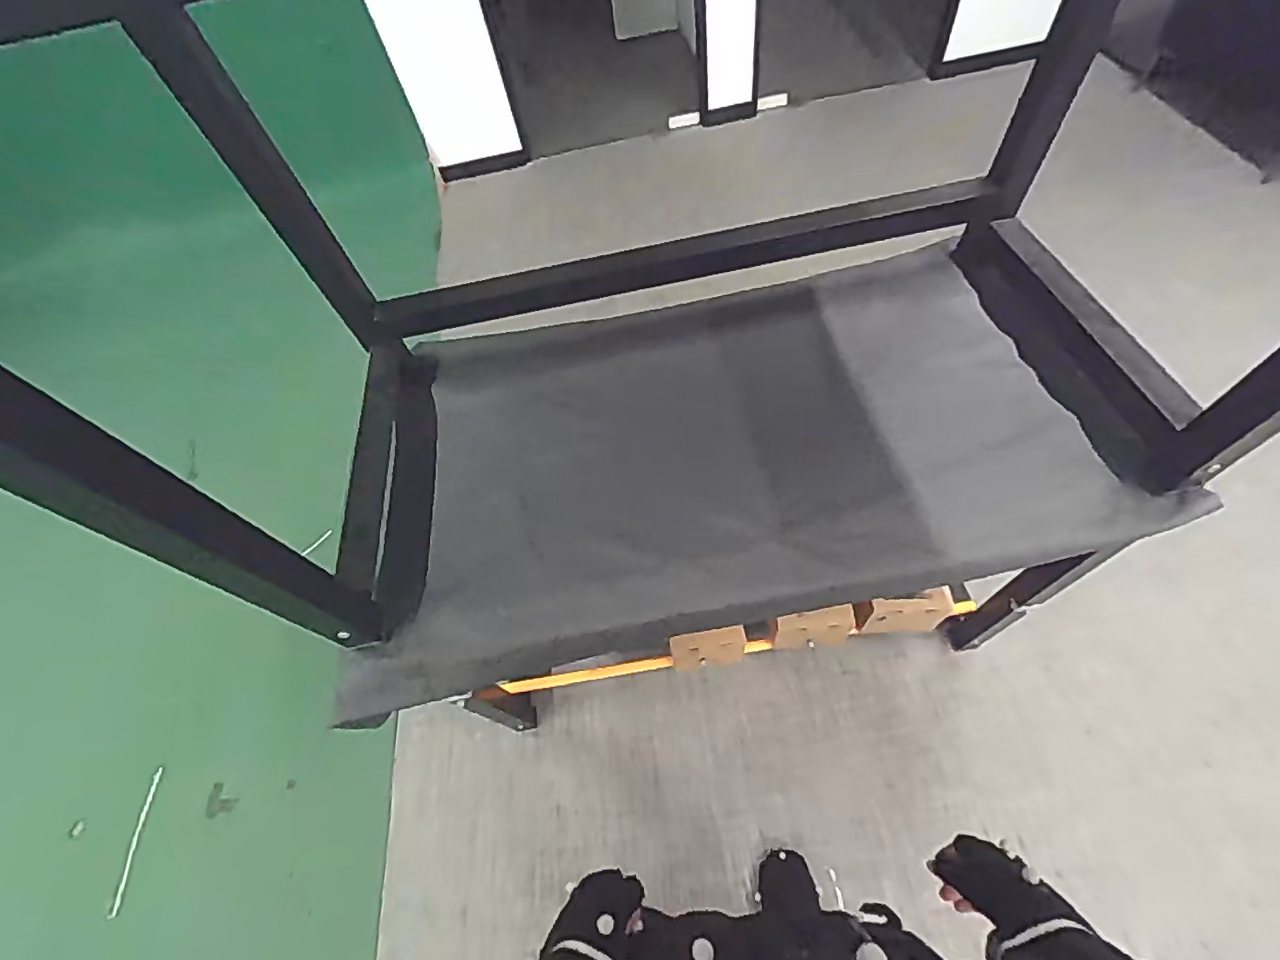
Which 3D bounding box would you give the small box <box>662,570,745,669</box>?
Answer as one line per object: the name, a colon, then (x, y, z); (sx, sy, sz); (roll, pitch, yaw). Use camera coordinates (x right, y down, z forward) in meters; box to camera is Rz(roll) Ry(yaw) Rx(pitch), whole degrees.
small box: (0.146, 0.332, 1.275); (0.168, 0.176, 0.179); (-9, 59, 2)
